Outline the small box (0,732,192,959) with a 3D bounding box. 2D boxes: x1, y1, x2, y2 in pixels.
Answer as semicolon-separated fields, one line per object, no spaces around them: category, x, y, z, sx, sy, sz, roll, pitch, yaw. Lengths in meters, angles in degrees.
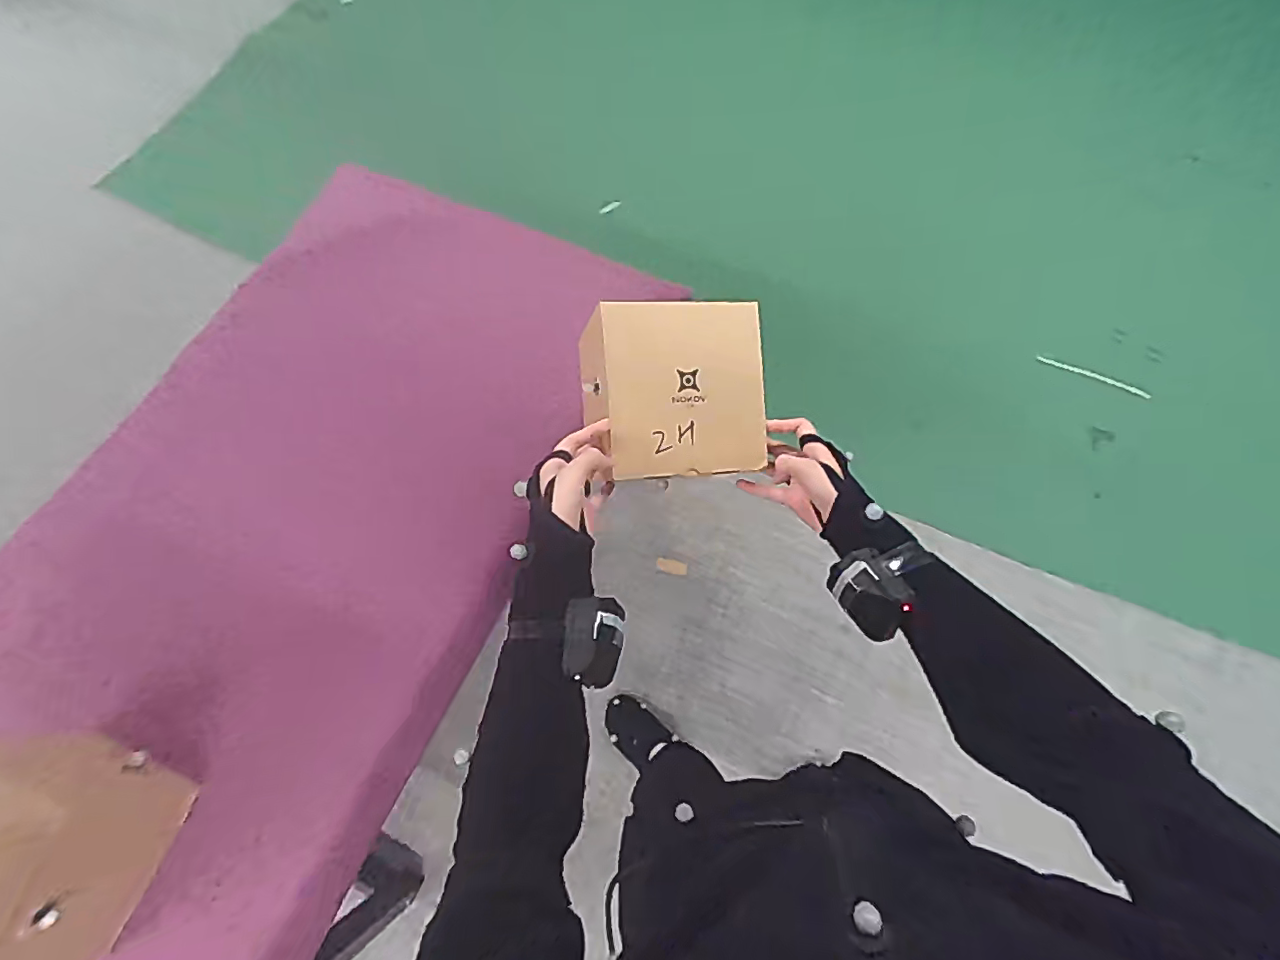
small box;-0.615;0.374;0.538;0.168;0.176;0.179;19;71;7
